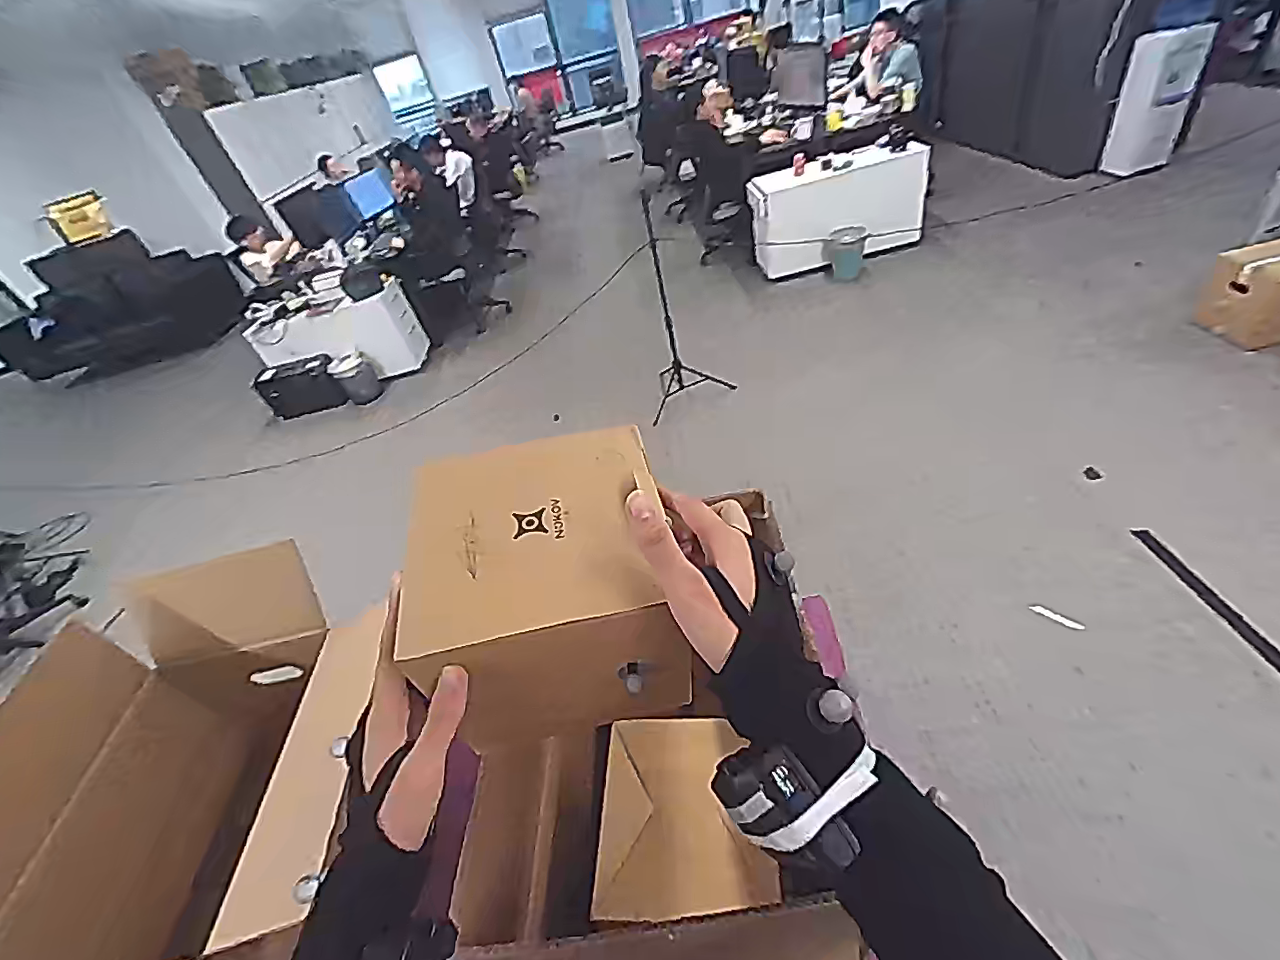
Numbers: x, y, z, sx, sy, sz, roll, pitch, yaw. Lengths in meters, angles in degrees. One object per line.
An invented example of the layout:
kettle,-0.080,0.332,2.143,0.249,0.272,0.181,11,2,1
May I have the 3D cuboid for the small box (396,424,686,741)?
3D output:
small box,-0.067,0.083,0.431,0.179,0.176,0.168,-11,46,-5
